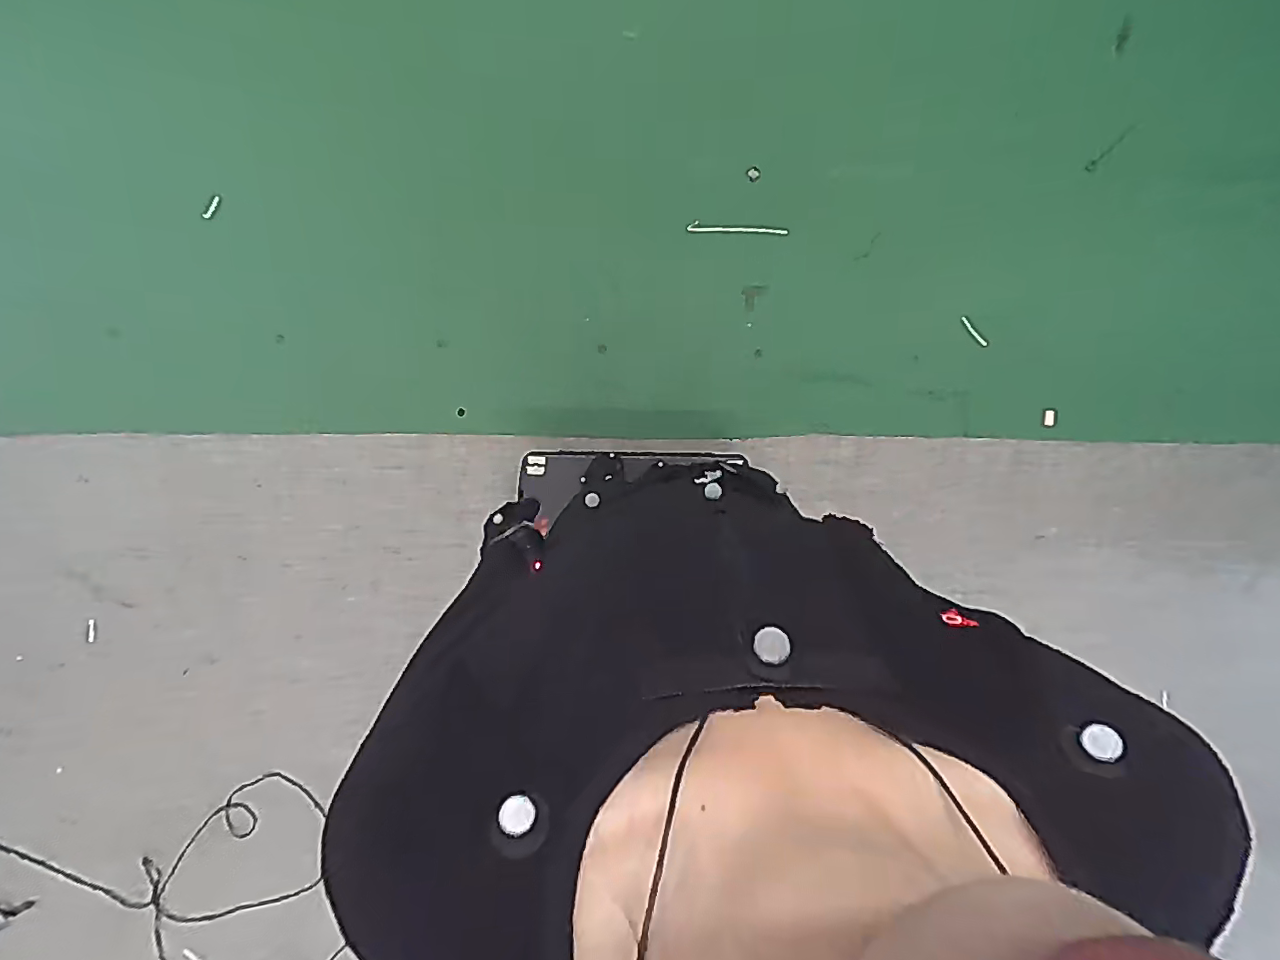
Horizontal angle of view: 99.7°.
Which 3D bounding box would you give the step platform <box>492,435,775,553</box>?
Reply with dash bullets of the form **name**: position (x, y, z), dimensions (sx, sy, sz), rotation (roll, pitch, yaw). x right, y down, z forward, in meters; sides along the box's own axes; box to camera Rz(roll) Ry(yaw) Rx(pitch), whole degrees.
- **step platform**: position (-0.016, 0.031, 1.393), dimensions (0.684, 0.204, 0.286), rotation (0, 92, -1)
